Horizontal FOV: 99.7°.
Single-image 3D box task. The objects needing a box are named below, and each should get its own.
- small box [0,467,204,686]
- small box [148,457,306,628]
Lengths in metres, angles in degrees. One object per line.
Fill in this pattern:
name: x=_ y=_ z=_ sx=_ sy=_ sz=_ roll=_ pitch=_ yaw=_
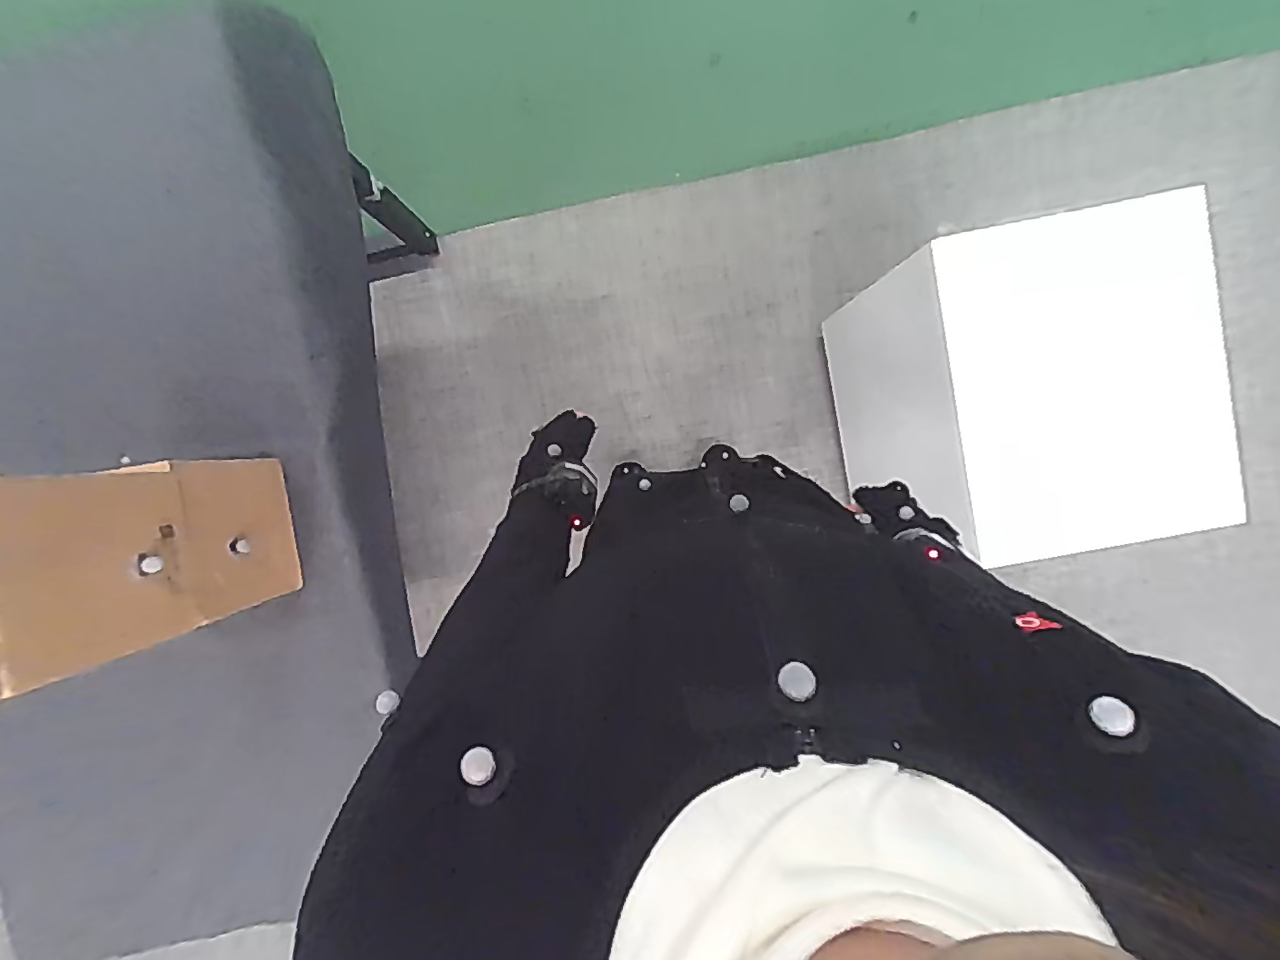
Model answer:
small box: x=-0.557 y=0.081 z=0.491 sx=0.179 sy=0.176 sz=0.168 roll=-9 pitch=93 yaw=5
small box: x=-0.543 y=0.071 z=0.655 sx=0.168 sy=0.176 sz=0.179 roll=-8 pitch=93 yaw=4
